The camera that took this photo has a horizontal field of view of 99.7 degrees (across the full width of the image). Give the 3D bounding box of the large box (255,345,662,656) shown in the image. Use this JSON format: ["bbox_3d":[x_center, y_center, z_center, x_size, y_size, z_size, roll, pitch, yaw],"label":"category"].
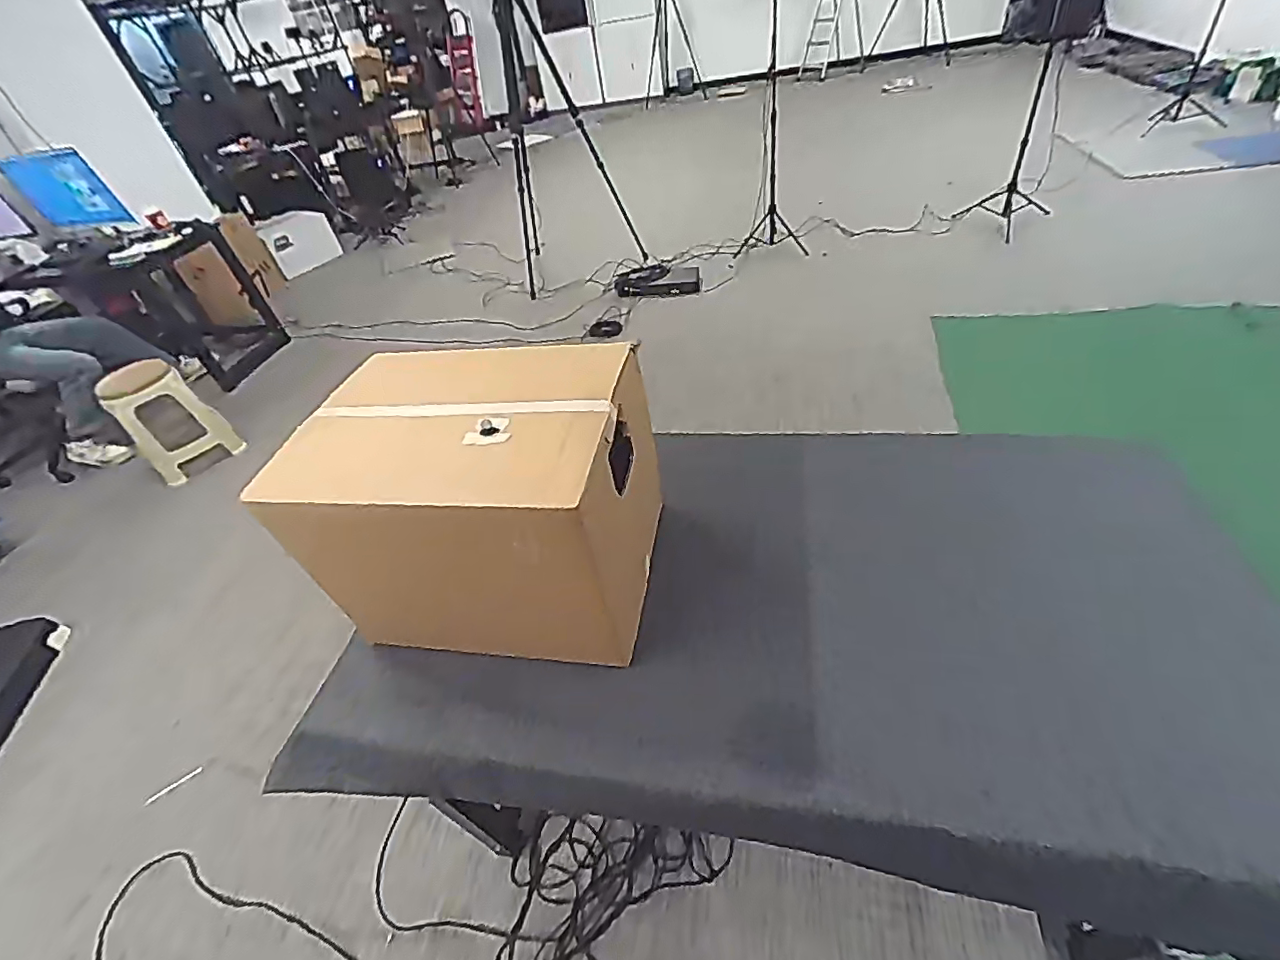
[{"bbox_3d":[-0.197,0.026,0.768,0.408,0.320,0.320,1,44,12],"label":"large box"}]
